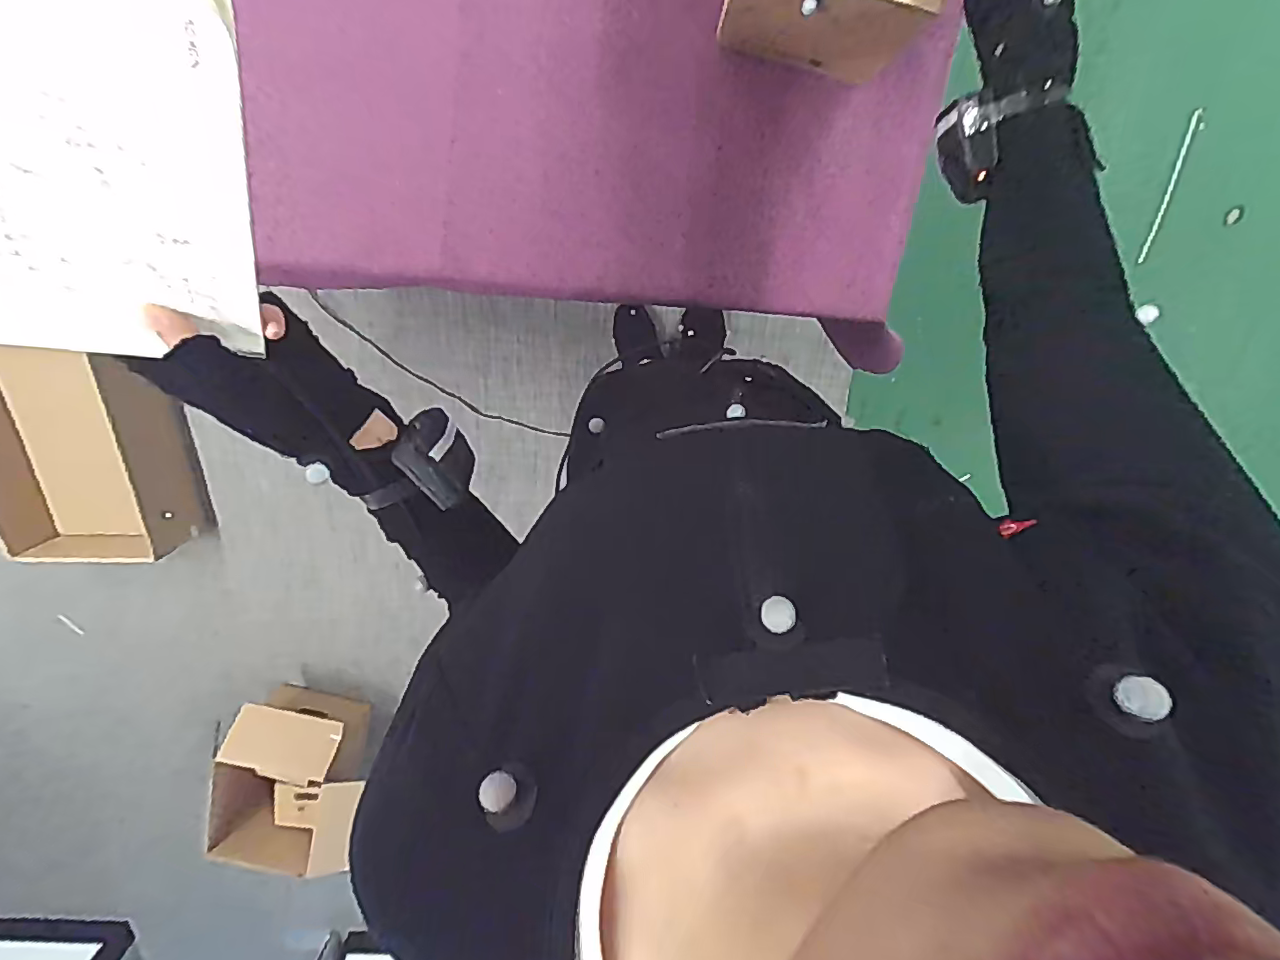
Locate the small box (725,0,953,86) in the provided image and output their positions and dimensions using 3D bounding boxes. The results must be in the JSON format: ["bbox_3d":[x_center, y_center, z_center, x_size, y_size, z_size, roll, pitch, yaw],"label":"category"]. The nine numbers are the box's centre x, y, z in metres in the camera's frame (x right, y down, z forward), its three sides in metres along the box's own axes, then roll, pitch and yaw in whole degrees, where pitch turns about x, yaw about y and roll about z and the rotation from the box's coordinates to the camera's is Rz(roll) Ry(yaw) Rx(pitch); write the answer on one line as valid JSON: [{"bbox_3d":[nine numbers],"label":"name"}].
[{"bbox_3d":[0.180,-0.483,0.461,0.168,0.176,0.179,13,110,-4],"label":"small box"}]
